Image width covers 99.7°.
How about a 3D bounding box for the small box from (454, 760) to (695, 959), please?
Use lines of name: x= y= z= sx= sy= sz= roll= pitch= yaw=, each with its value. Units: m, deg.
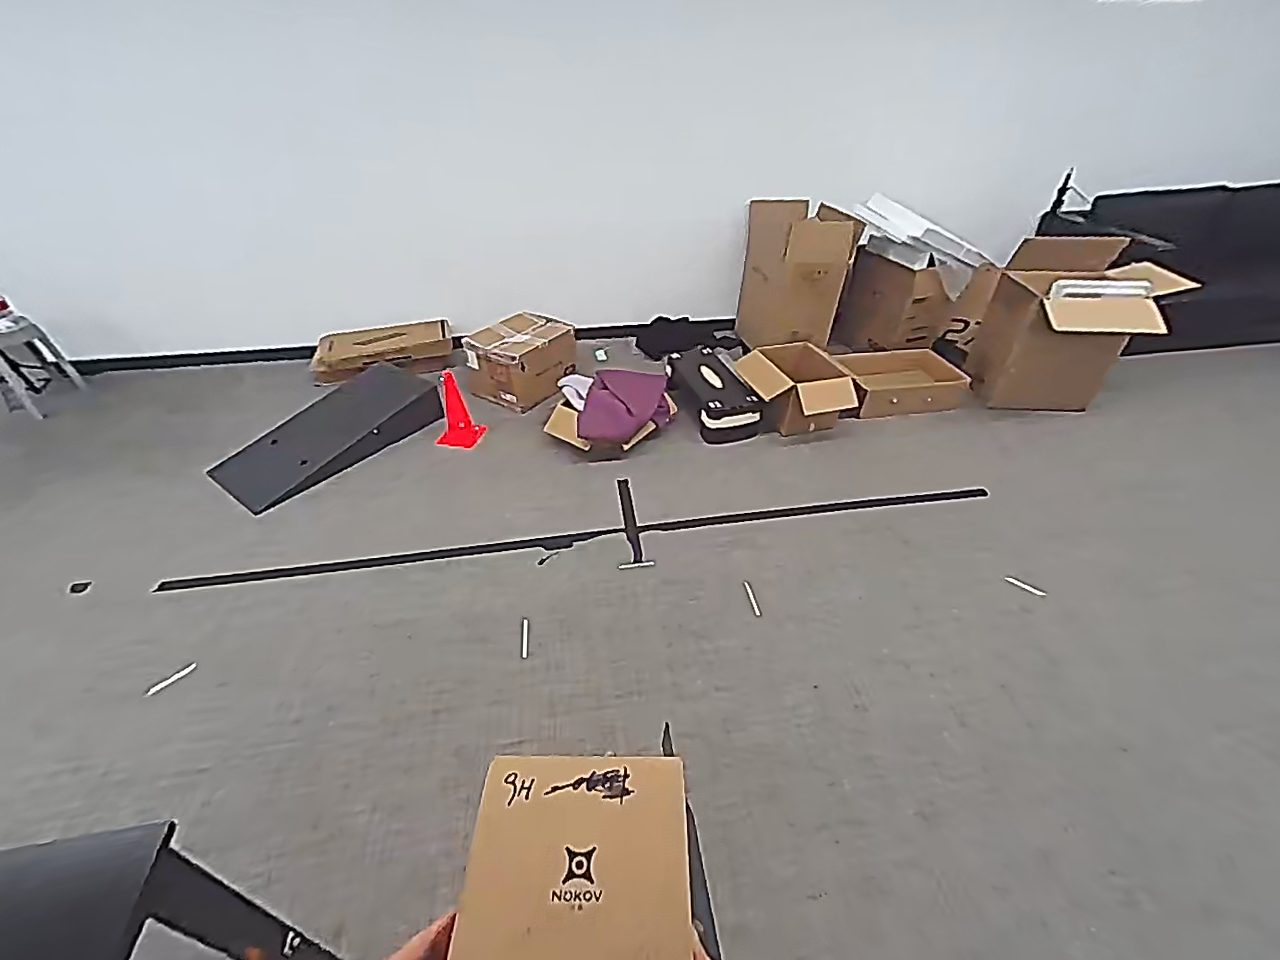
small box: x=-0.041 y=0.355 z=0.445 sx=0.168 sy=0.176 sz=0.179 roll=0 pitch=40 yaw=0
